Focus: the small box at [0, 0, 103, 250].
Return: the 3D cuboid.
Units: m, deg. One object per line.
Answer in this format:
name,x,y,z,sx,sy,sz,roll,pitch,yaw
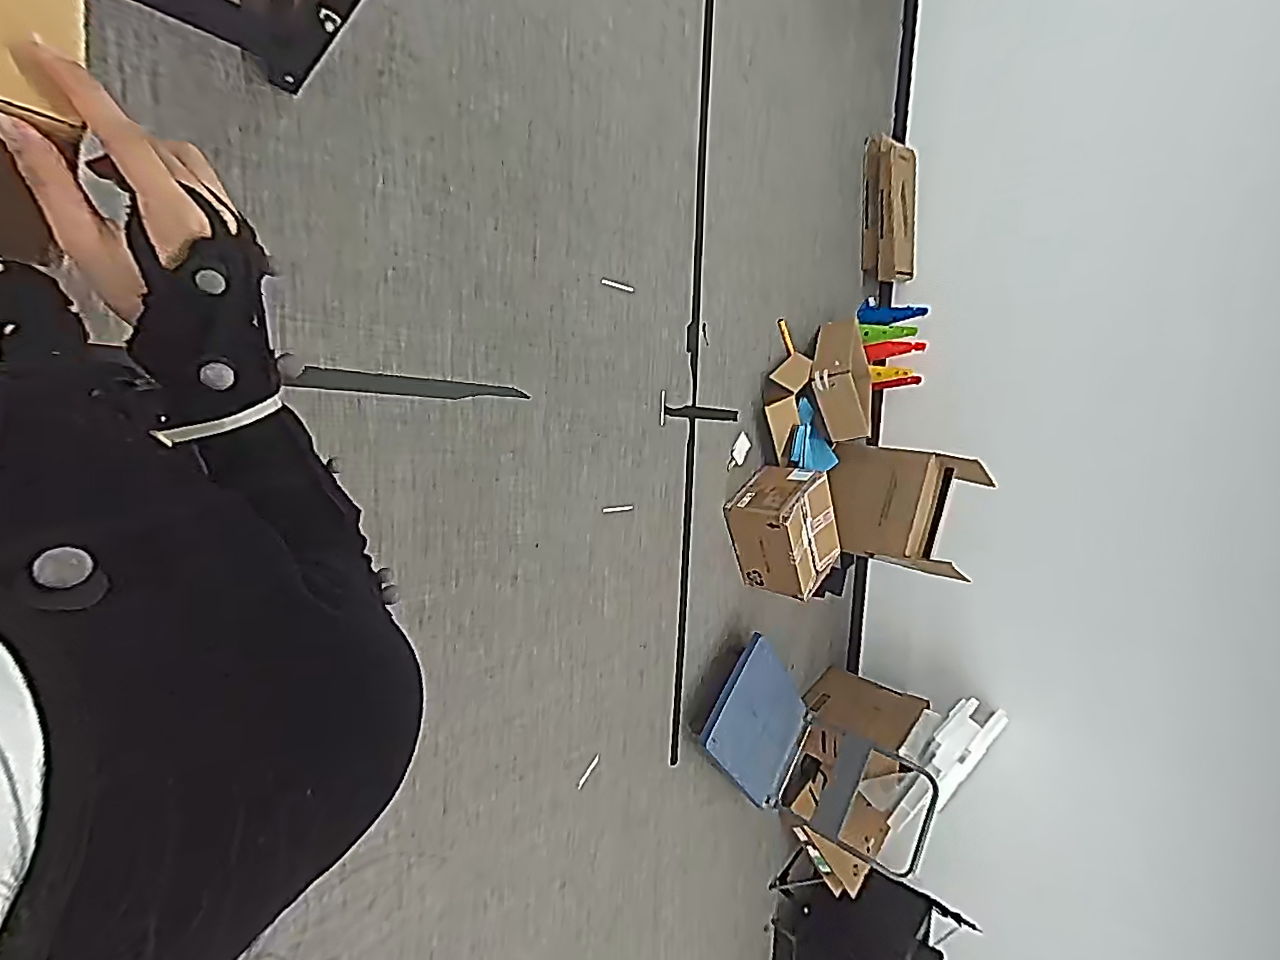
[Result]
small box,-0.383,-0.234,0.251,0.179,0.176,0.168,0,82,-49
